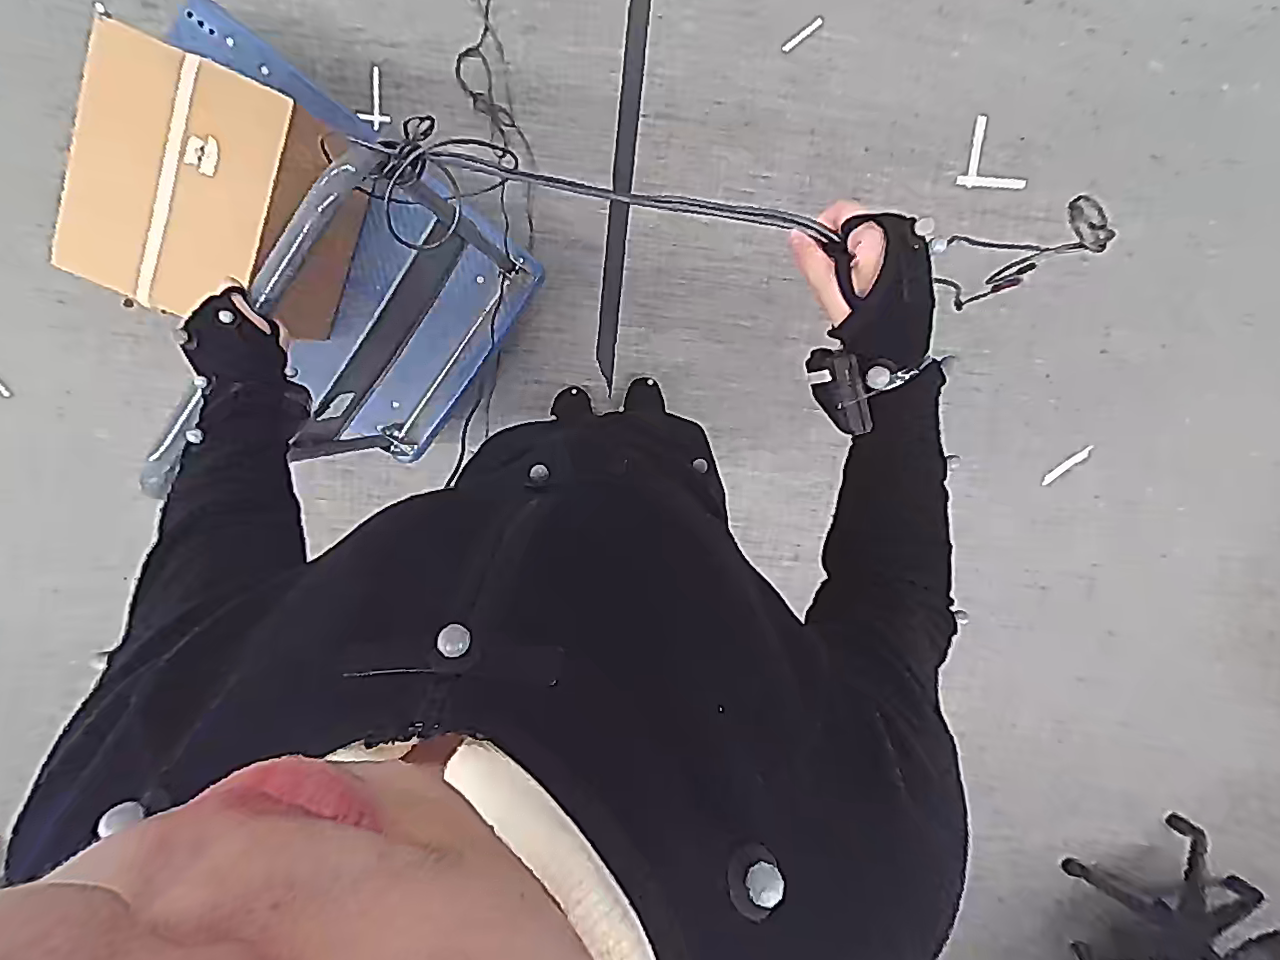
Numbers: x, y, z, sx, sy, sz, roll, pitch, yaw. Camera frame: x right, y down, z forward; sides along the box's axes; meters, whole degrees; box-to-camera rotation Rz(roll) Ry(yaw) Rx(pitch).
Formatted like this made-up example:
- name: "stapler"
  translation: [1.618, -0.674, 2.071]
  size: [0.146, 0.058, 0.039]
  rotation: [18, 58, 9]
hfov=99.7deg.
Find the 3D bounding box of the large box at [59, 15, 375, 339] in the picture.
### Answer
- name: "large box"
  translation: [-0.771, -0.518, 1.033]
  size: [0.320, 0.320, 0.408]
  rotation: [22, 101, -7]
